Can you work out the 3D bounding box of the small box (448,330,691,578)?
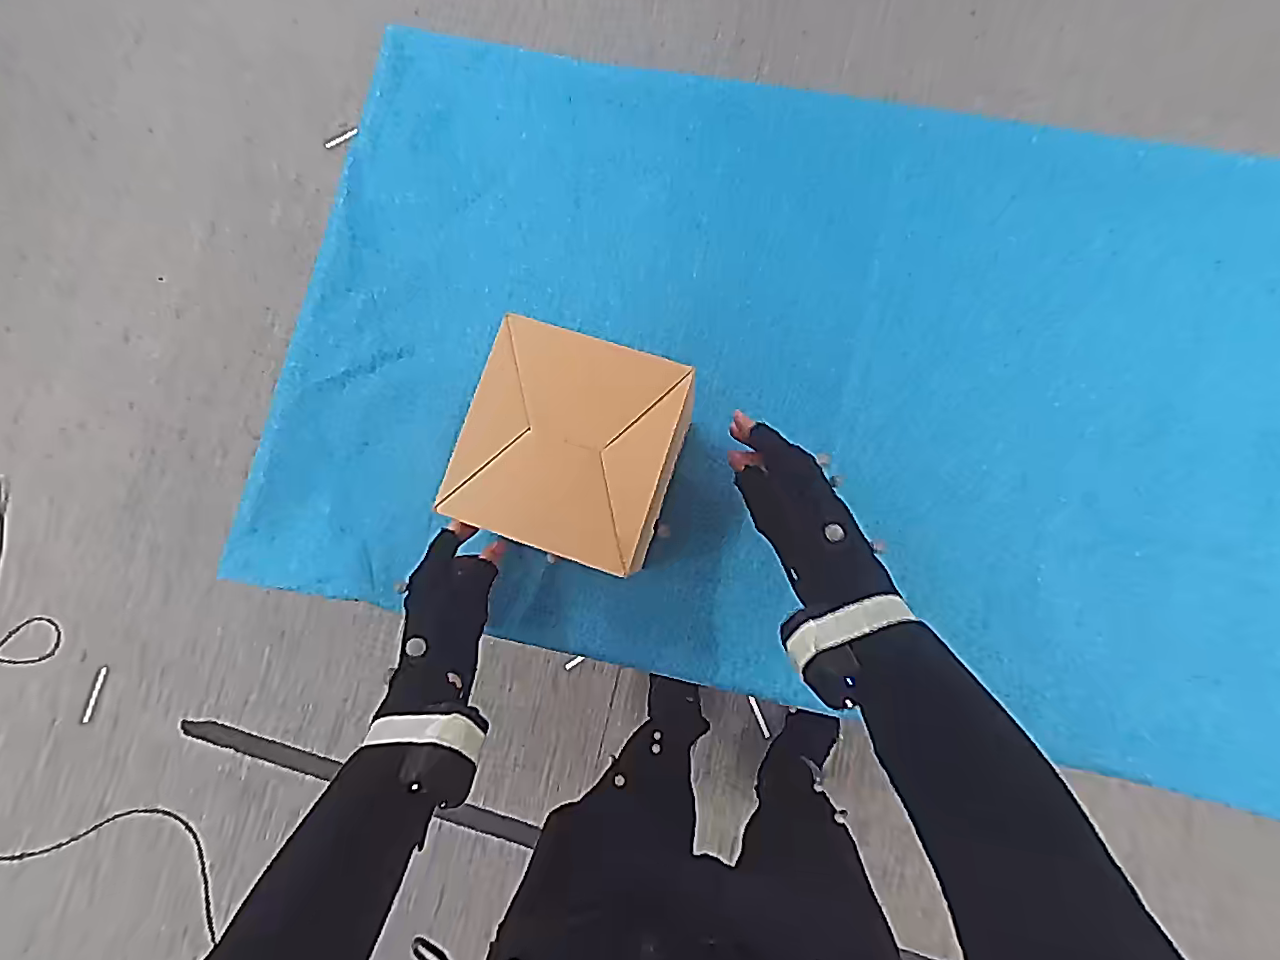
[{"bbox_3d":[-0.054,-0.014,0.515,0.168,0.176,0.179,18,84,6],"label":"small box"}]
